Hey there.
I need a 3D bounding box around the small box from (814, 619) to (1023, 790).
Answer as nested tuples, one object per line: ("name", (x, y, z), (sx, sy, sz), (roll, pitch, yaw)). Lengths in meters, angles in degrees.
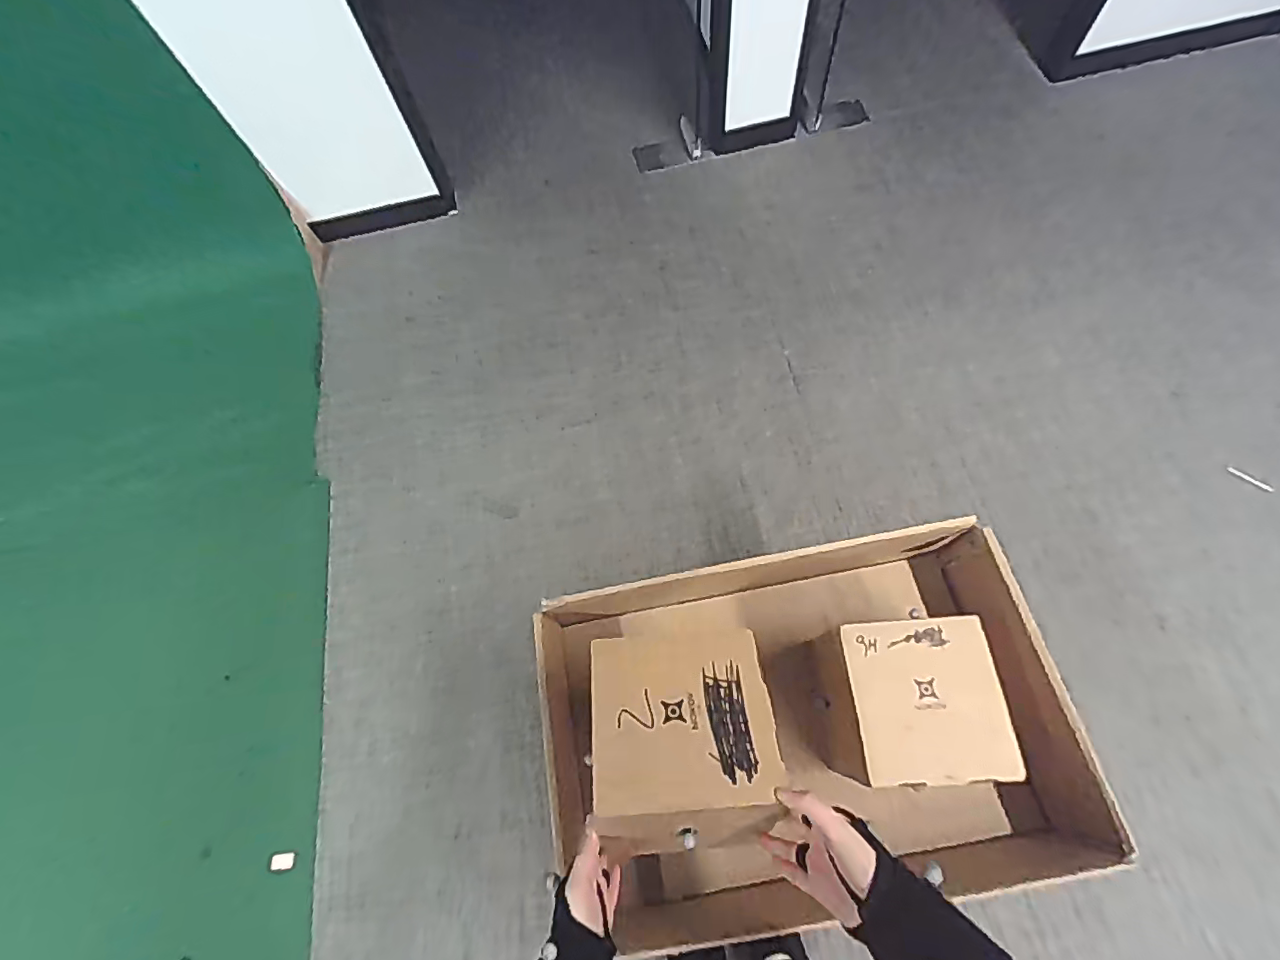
("small box", (0.332, 0.278, 0.687), (0.168, 0.176, 0.179), (-5, 68, 2))
